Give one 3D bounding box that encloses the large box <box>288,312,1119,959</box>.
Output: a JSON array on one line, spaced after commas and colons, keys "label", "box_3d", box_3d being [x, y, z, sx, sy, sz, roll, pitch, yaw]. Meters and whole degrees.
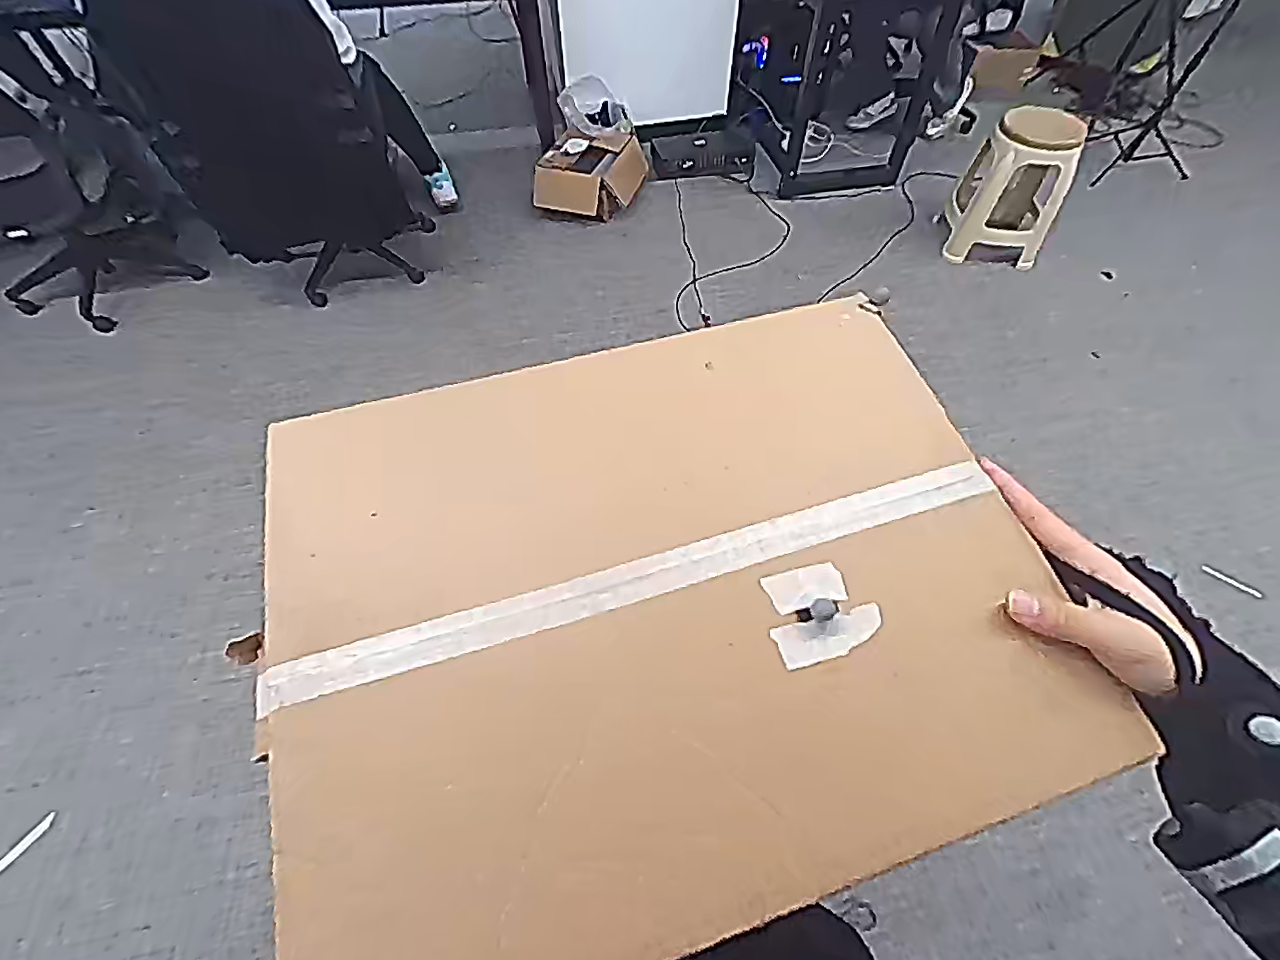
[{"label": "large box", "box_3d": [0.009, 0.123, 0.438, 0.408, 0.320, 0.320, -15, 66, -10]}]
